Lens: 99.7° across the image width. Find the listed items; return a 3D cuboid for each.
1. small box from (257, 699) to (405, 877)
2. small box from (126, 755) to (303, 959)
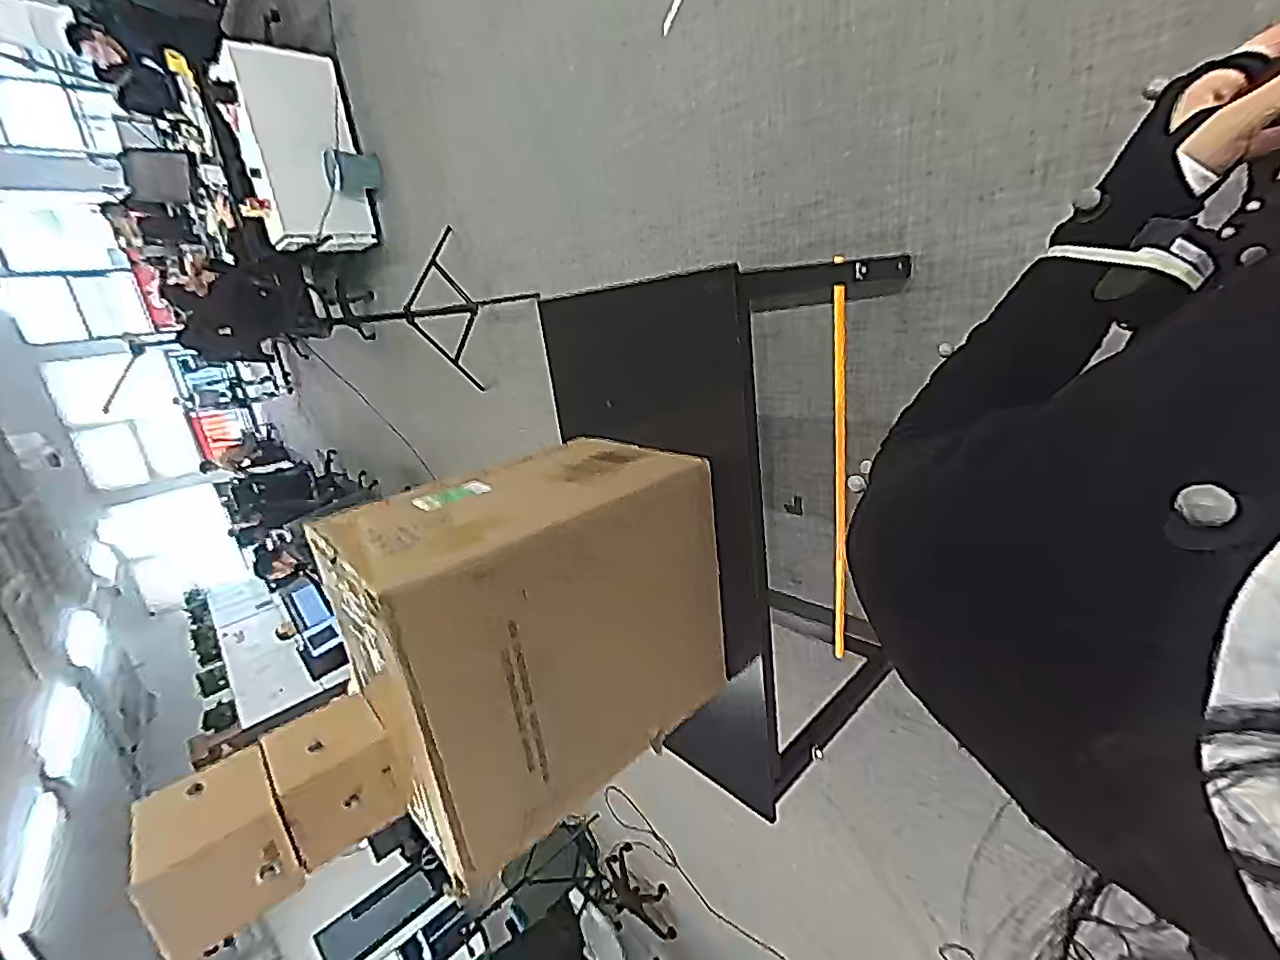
[{"bbox_3d":[-0.526,0.514,0.934,0.179,0.176,0.168,13,115,47],"label":"small box"},{"bbox_3d":[-0.637,0.559,0.822,0.179,0.176,0.168,15,118,46],"label":"small box"}]
